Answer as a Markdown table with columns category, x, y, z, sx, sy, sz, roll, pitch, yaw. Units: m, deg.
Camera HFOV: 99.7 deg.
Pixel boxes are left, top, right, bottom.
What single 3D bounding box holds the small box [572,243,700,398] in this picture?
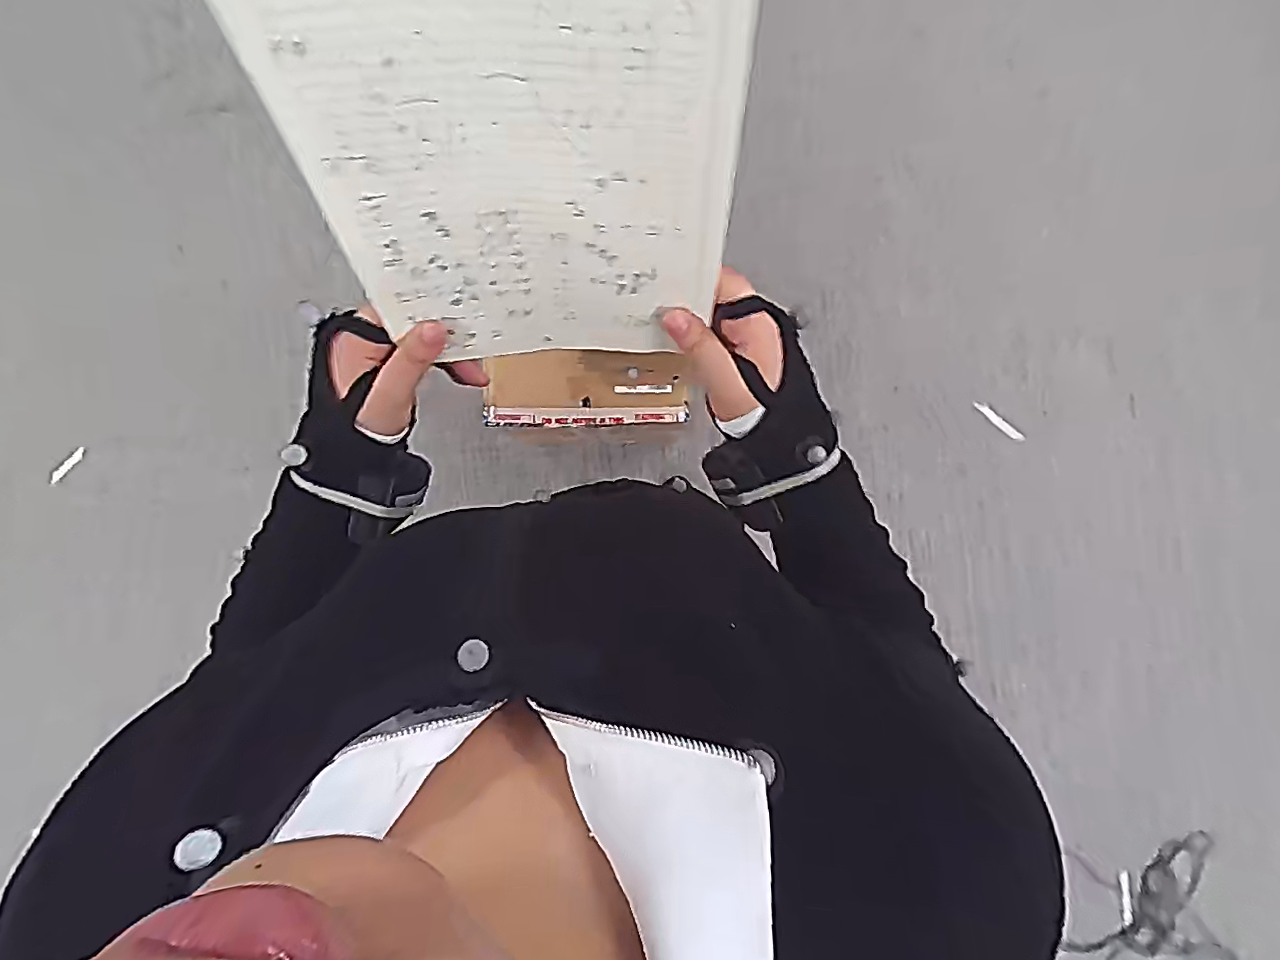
| category | x | y | z | sx | sy | sz | roll | pitch | yaw |
| --- | --- | --- | --- | --- | --- | --- | --- | --- | --- |
| small box | -0.009 | -0.222 | 0.791 | 0.168 | 0.176 | 0.179 | 2 | 91 | -2 |

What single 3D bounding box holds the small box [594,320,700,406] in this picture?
| category | x | y | z | sx | sy | sz | roll | pitch | yaw |
| --- | --- | --- | --- | --- | --- | --- | --- | --- | --- |
| small box | 0.005 | -0.225 | 0.957 | 0.179 | 0.176 | 0.168 | -2 | 90 | -1 |
